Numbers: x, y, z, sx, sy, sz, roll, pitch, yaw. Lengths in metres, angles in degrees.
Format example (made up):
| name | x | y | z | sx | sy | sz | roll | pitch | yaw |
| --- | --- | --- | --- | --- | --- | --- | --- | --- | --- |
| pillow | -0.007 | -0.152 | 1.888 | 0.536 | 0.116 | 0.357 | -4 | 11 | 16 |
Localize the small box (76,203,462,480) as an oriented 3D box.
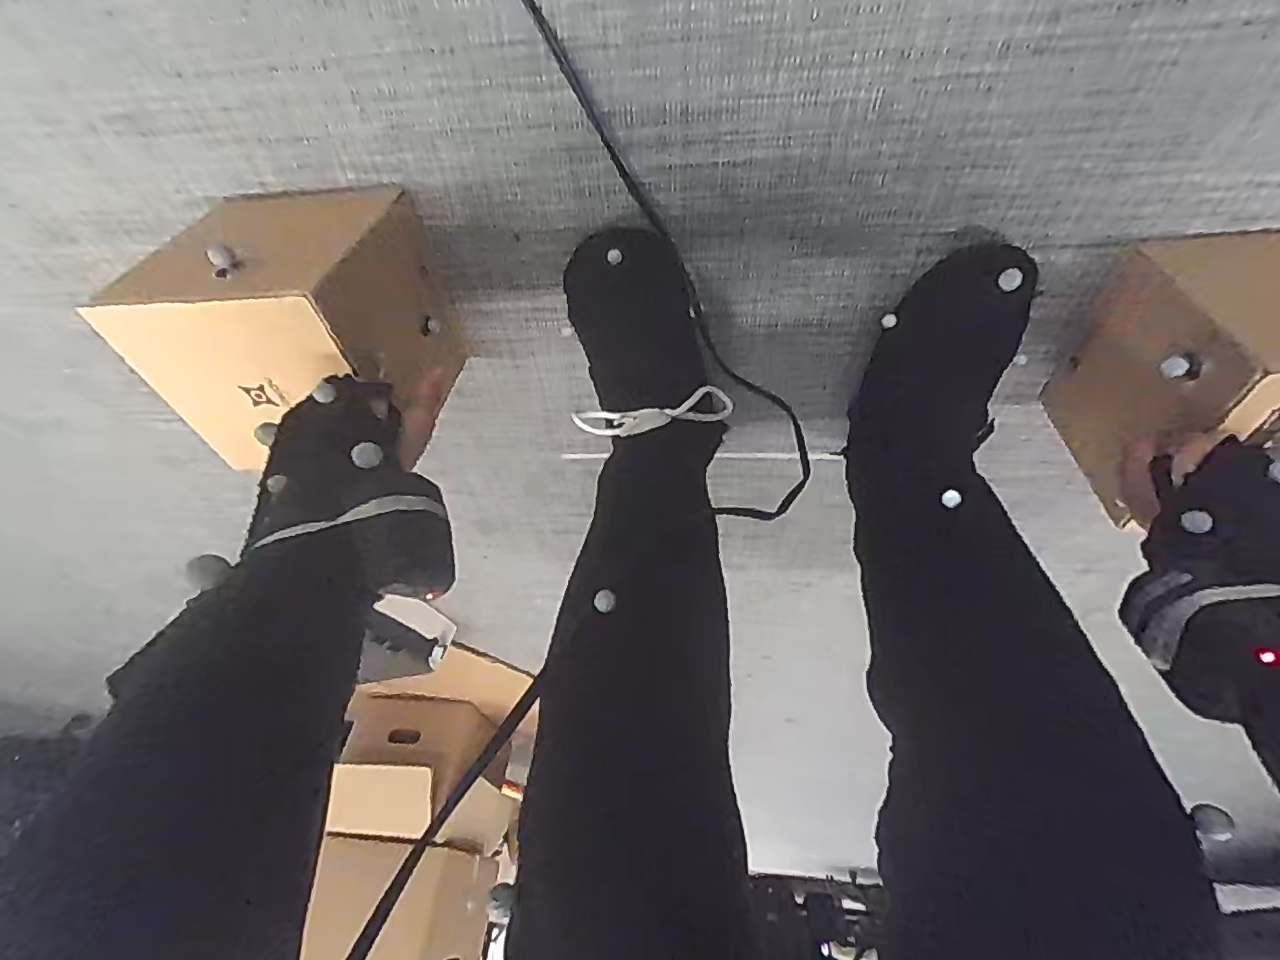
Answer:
| name | x | y | z | sx | sy | sz | roll | pitch | yaw |
| --- | --- | --- | --- | --- | --- | --- | --- | --- | --- |
| small box | -0.281 | -0.117 | 0.463 | 0.179 | 0.176 | 0.168 | -1 | 139 | 7 |
